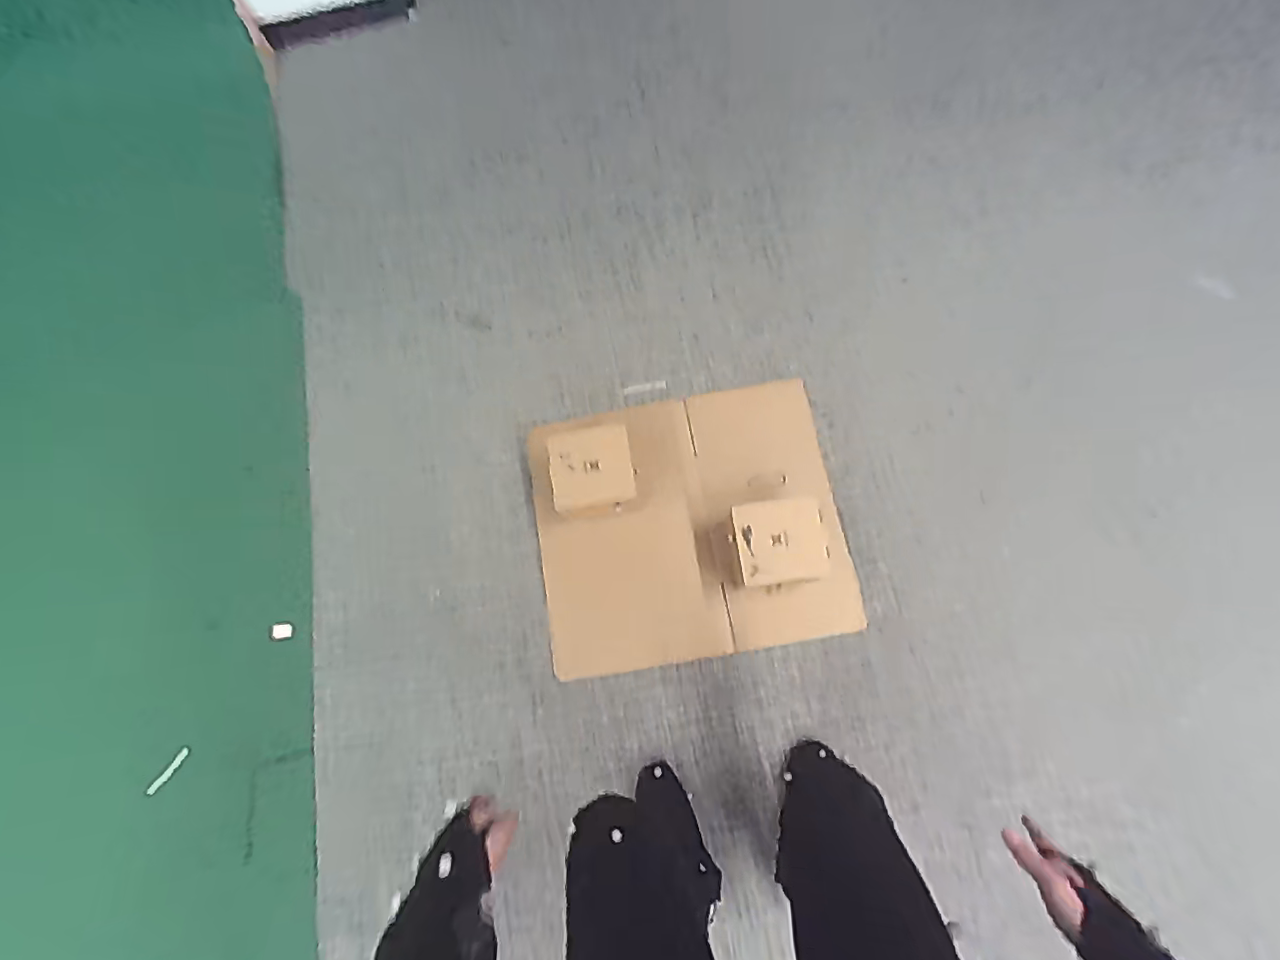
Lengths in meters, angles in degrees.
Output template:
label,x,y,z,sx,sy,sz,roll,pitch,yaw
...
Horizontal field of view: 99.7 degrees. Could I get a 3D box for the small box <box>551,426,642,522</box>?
label,x,y,z,sx,sy,sz,roll,pitch,yaw
small box,-0.091,-0.009,1.214,0.179,0.176,0.168,-9,75,2

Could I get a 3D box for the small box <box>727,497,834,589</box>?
label,x,y,z,sx,sy,sz,roll,pitch,yaw
small box,0.290,0.140,1.153,0.179,0.176,0.168,-8,75,2
